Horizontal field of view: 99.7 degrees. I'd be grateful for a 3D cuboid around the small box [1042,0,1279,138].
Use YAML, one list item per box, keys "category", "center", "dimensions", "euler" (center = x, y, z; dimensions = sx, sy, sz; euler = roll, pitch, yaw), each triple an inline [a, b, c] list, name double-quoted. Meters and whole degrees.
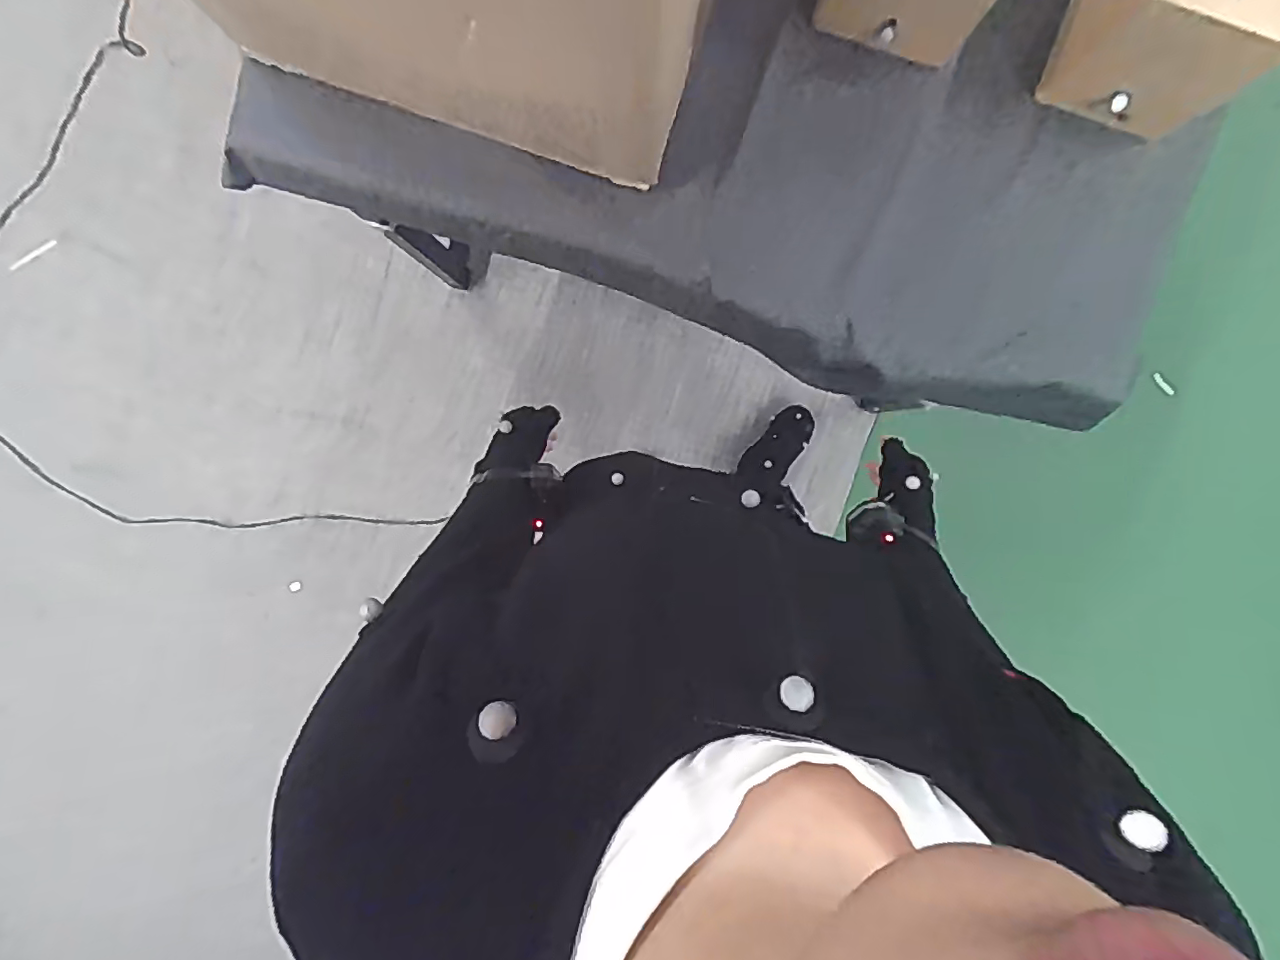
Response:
- category: "small box"
  center: [0.604, -0.534, 0.603]
  dimensions: [0.168, 0.176, 0.179]
  euler: [19, 95, -1]
